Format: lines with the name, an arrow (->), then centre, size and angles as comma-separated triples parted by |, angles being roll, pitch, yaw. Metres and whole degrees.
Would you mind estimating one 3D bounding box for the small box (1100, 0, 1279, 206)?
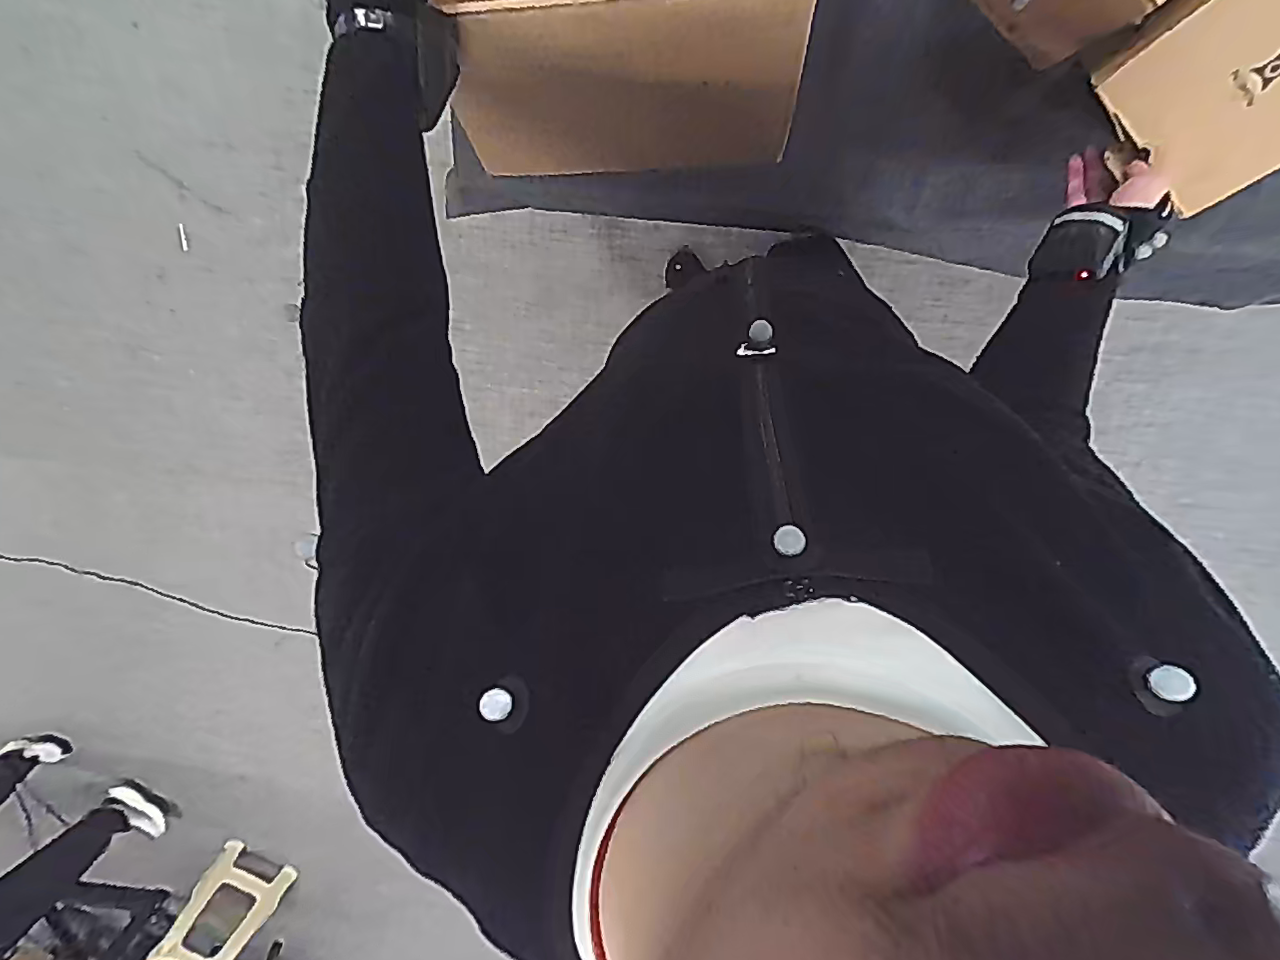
small box -> 0.569, -0.404, 0.500 | 0.168, 0.176, 0.179 | 42, 142, -11
